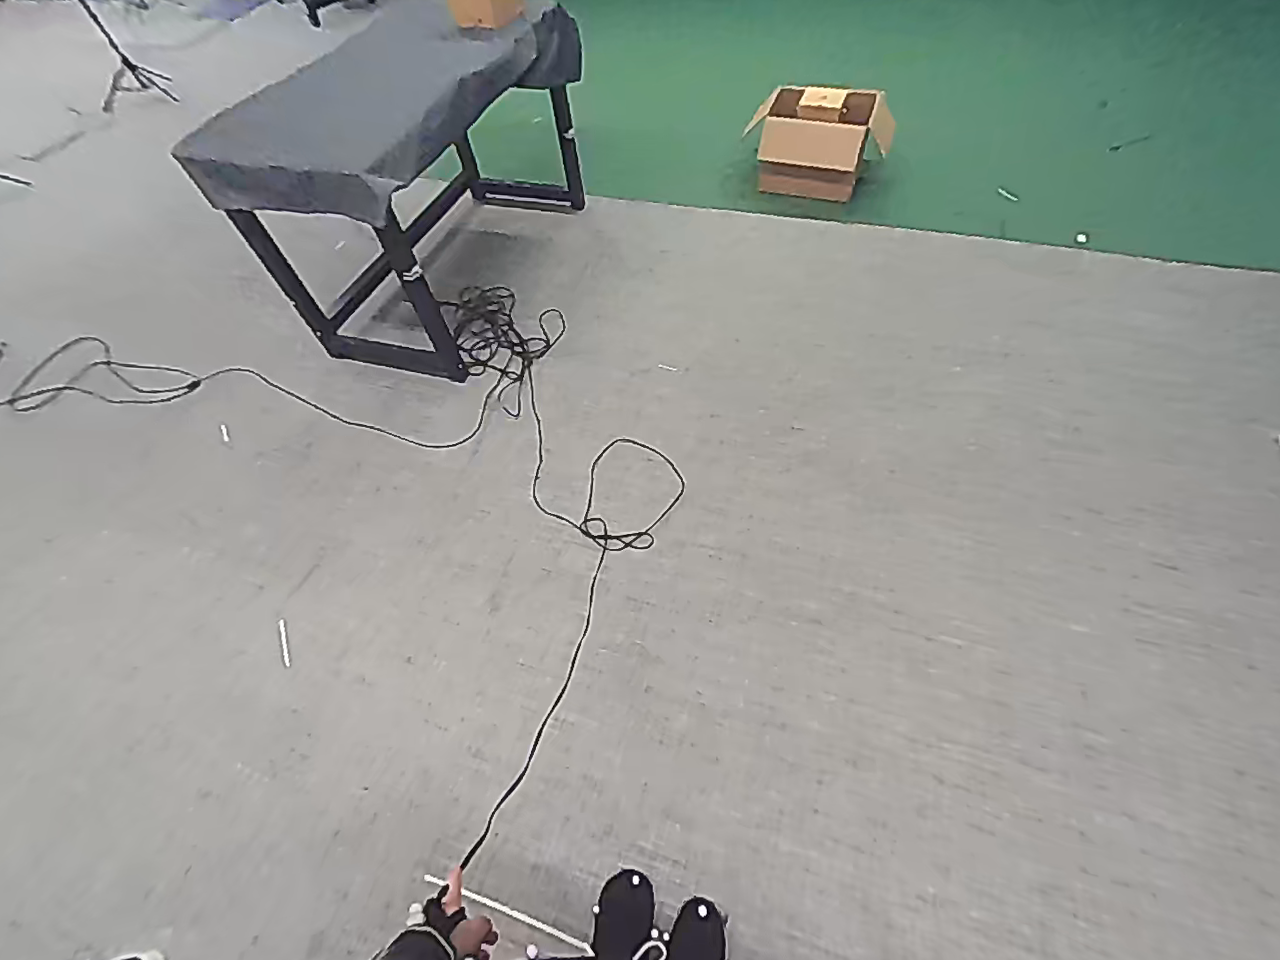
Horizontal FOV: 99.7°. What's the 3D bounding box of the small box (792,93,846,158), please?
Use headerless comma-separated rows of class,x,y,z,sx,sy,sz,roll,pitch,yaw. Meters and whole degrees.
small box,0.740,-1.474,2.250,0.168,0.176,0.179,17,58,15
